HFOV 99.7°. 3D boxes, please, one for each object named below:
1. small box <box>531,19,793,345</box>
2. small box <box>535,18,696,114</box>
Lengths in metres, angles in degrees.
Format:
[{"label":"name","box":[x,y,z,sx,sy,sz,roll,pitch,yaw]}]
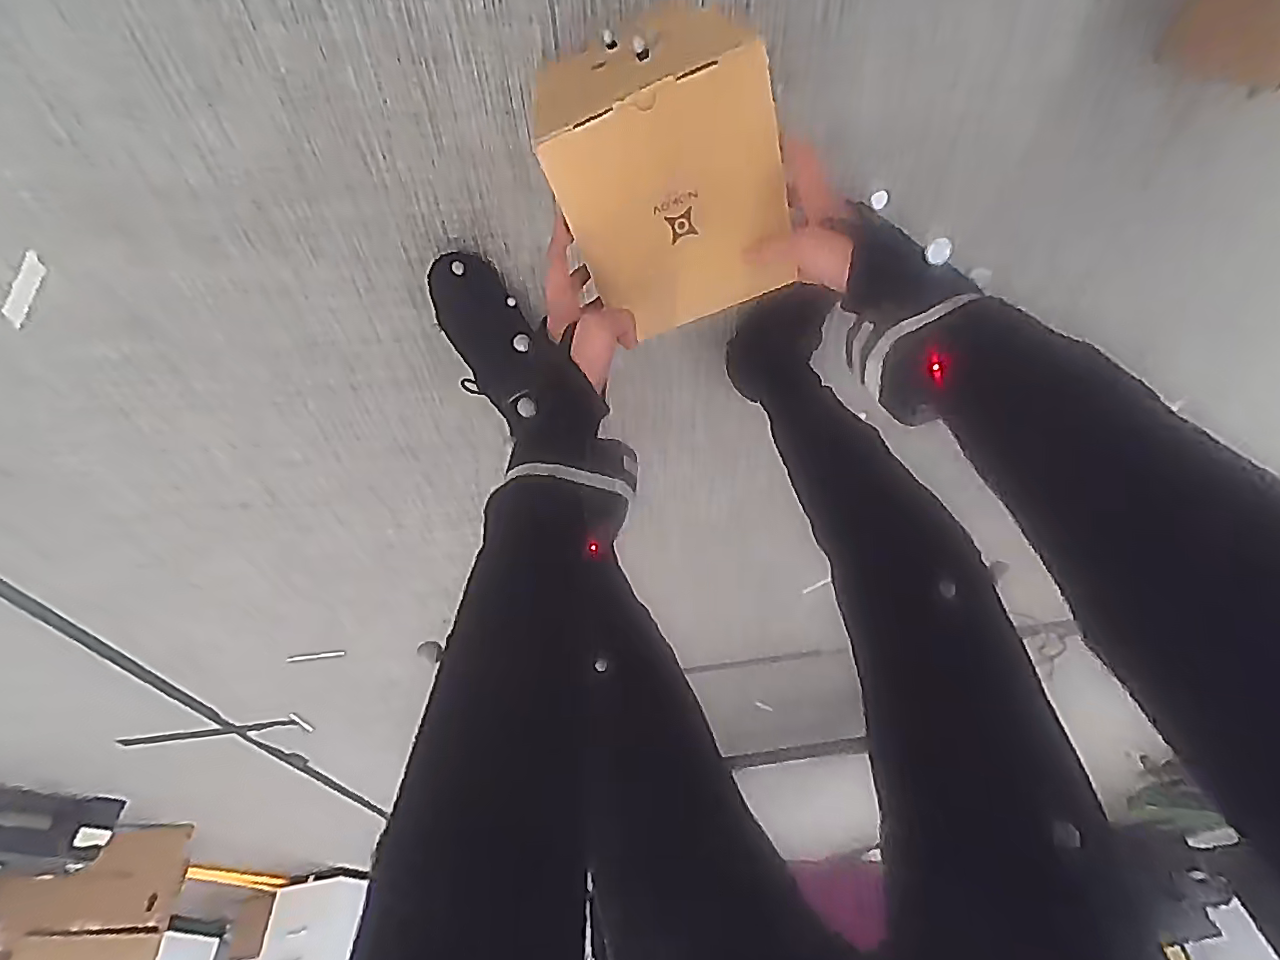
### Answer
[{"label":"small box","box":[0.020,-0.256,0.472,0.168,0.176,0.179,-19,135,9]},{"label":"small box","box":[-0.004,-0.366,0.591,0.168,0.176,0.179,-20,136,11]}]
